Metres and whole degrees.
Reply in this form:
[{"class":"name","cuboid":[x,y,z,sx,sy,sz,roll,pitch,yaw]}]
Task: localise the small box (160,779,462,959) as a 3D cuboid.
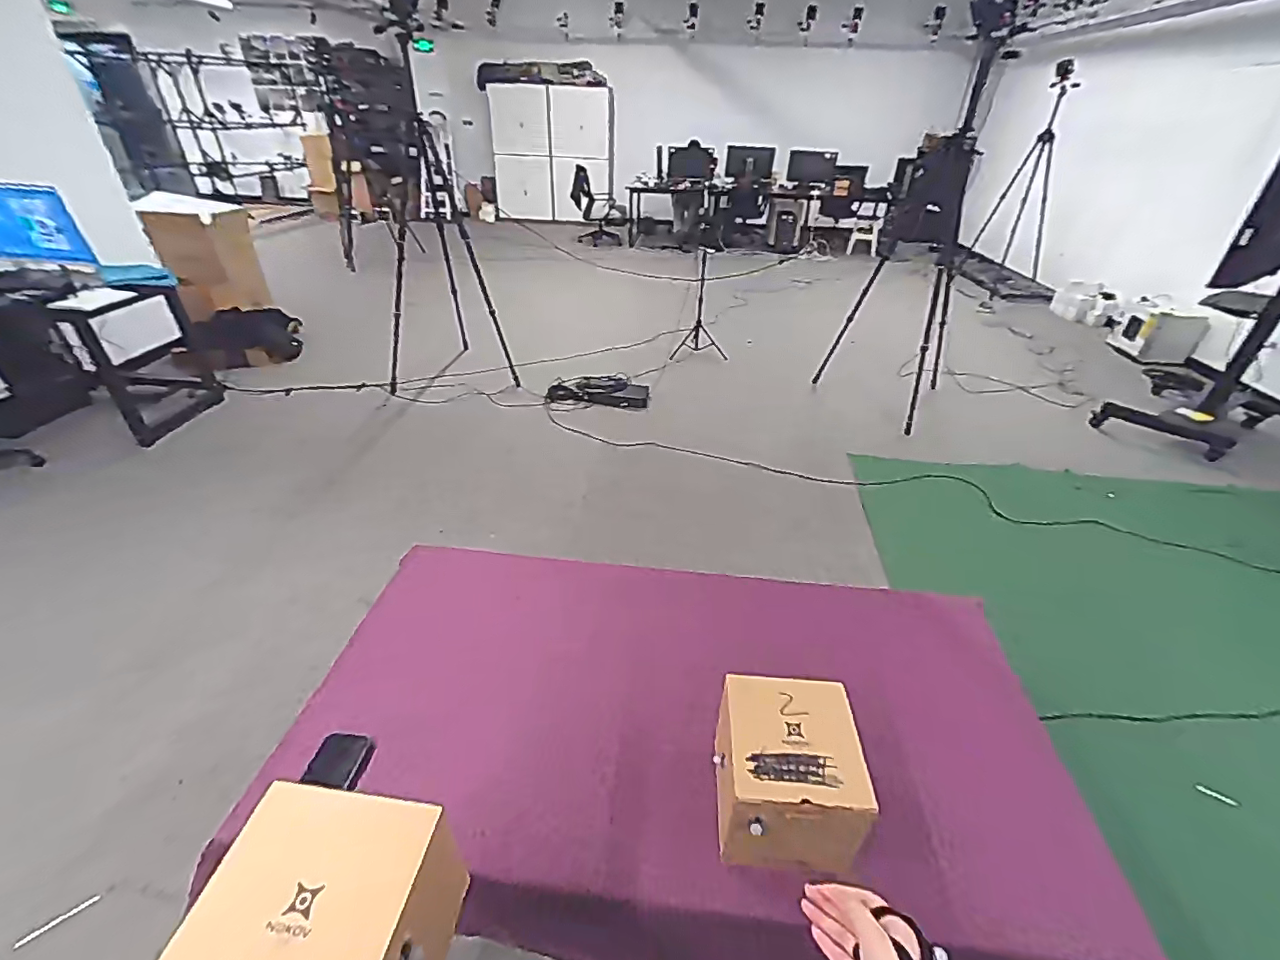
[{"class":"small box","cuboid":[-0.270,0.402,0.474,0.168,0.176,0.179,7,37,5]}]
